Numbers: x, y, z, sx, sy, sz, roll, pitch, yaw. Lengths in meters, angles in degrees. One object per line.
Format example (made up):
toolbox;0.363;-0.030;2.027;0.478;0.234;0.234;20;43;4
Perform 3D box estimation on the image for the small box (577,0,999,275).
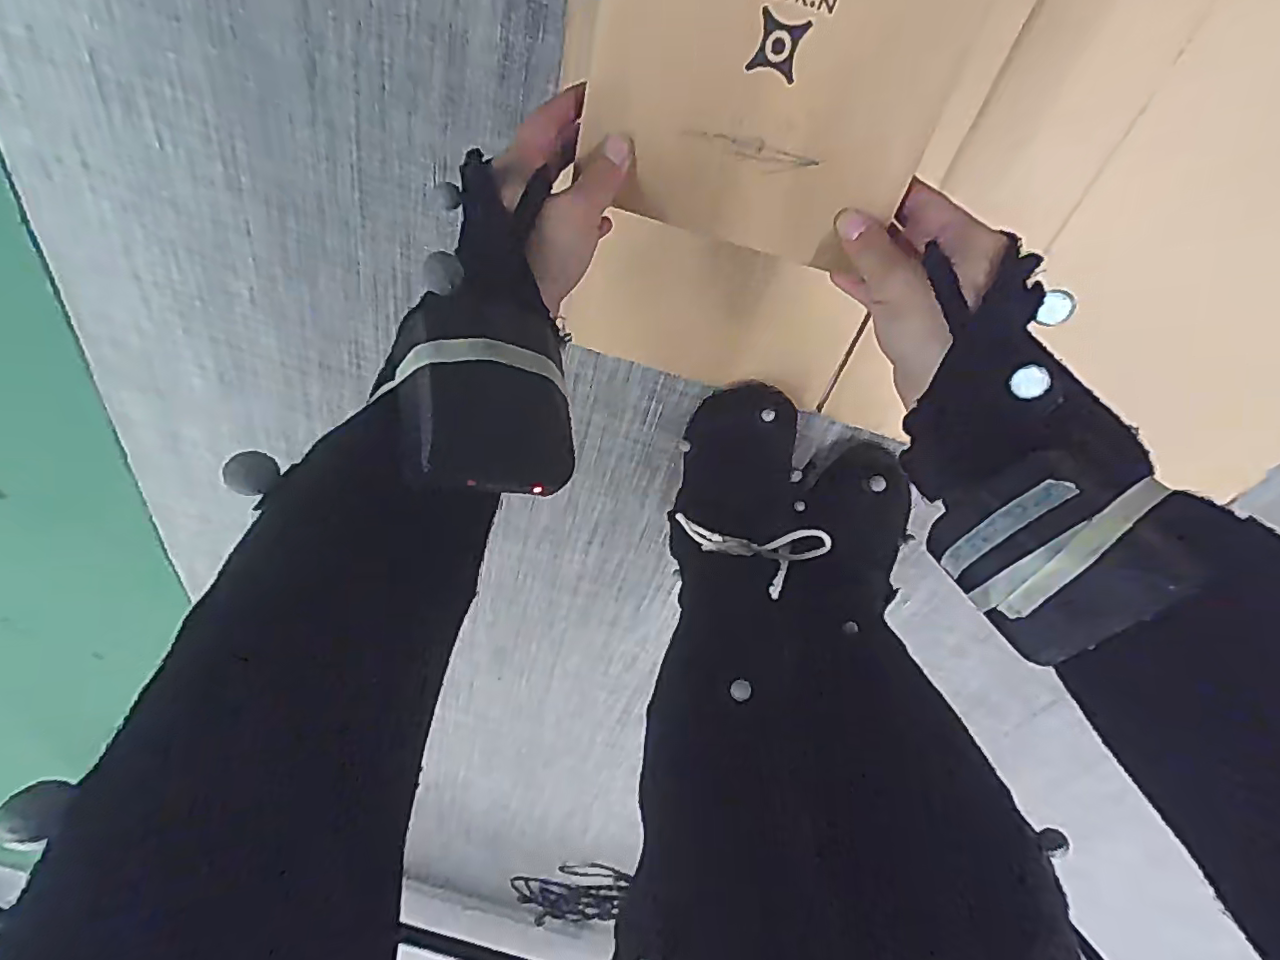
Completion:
small box;0.075;-0.245;0.305;0.168;0.176;0.179;16;126;-1
